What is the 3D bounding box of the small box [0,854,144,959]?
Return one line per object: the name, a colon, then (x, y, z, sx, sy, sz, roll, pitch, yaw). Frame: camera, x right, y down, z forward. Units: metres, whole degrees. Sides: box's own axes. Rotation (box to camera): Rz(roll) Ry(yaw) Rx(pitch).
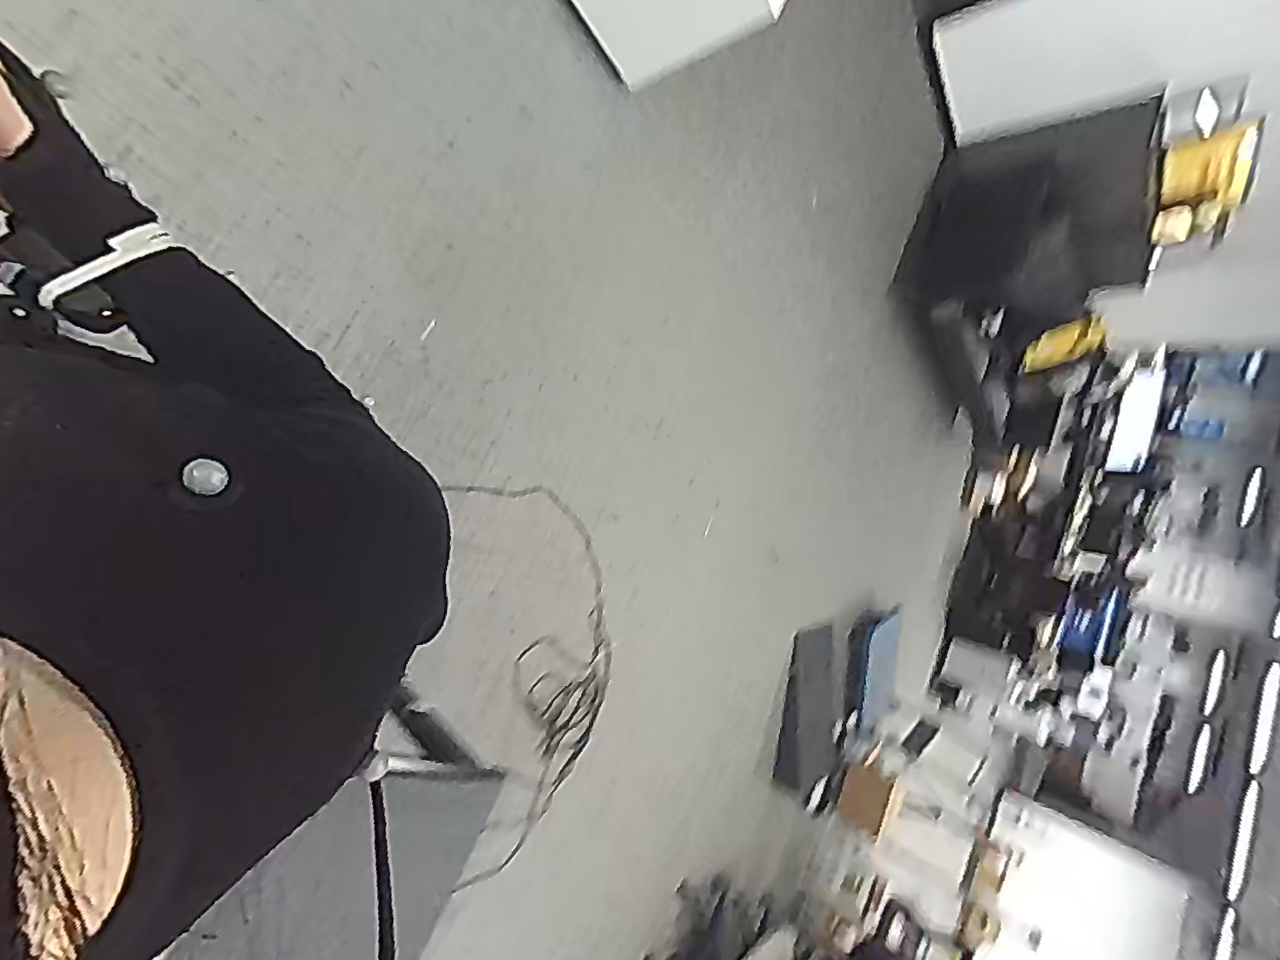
small box: (-0.615, 0.496, 0.509, 0.168, 0.176, 0.179, 40, 71, -43)
